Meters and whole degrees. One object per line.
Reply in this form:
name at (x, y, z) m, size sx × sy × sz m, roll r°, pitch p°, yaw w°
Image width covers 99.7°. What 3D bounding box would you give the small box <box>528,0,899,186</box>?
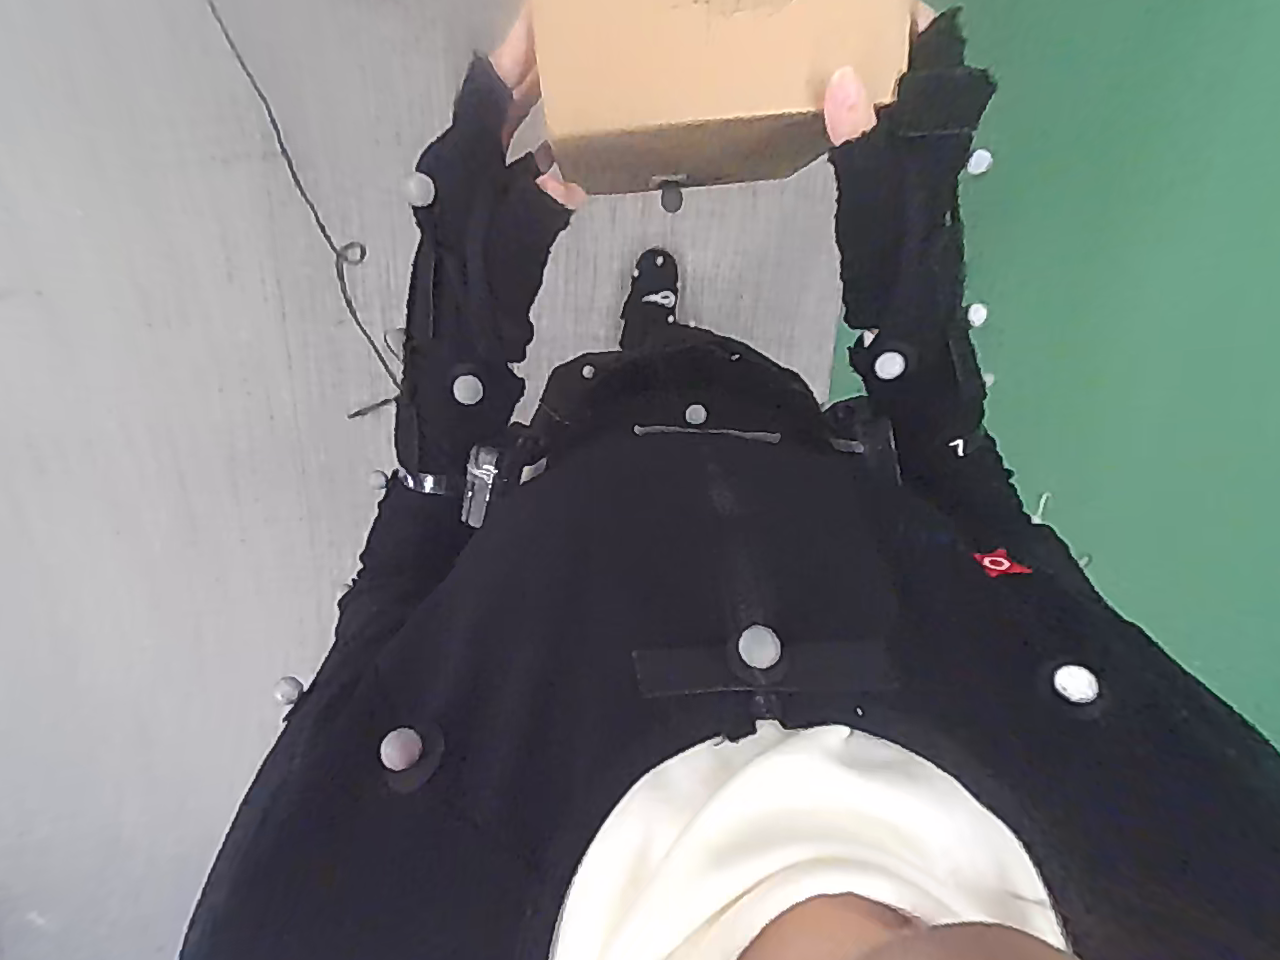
small box at (0.024, -0.280, 0.296) m, size 0.168 × 0.176 × 0.179 m, roll -6°, pitch 109°, yaw -1°
